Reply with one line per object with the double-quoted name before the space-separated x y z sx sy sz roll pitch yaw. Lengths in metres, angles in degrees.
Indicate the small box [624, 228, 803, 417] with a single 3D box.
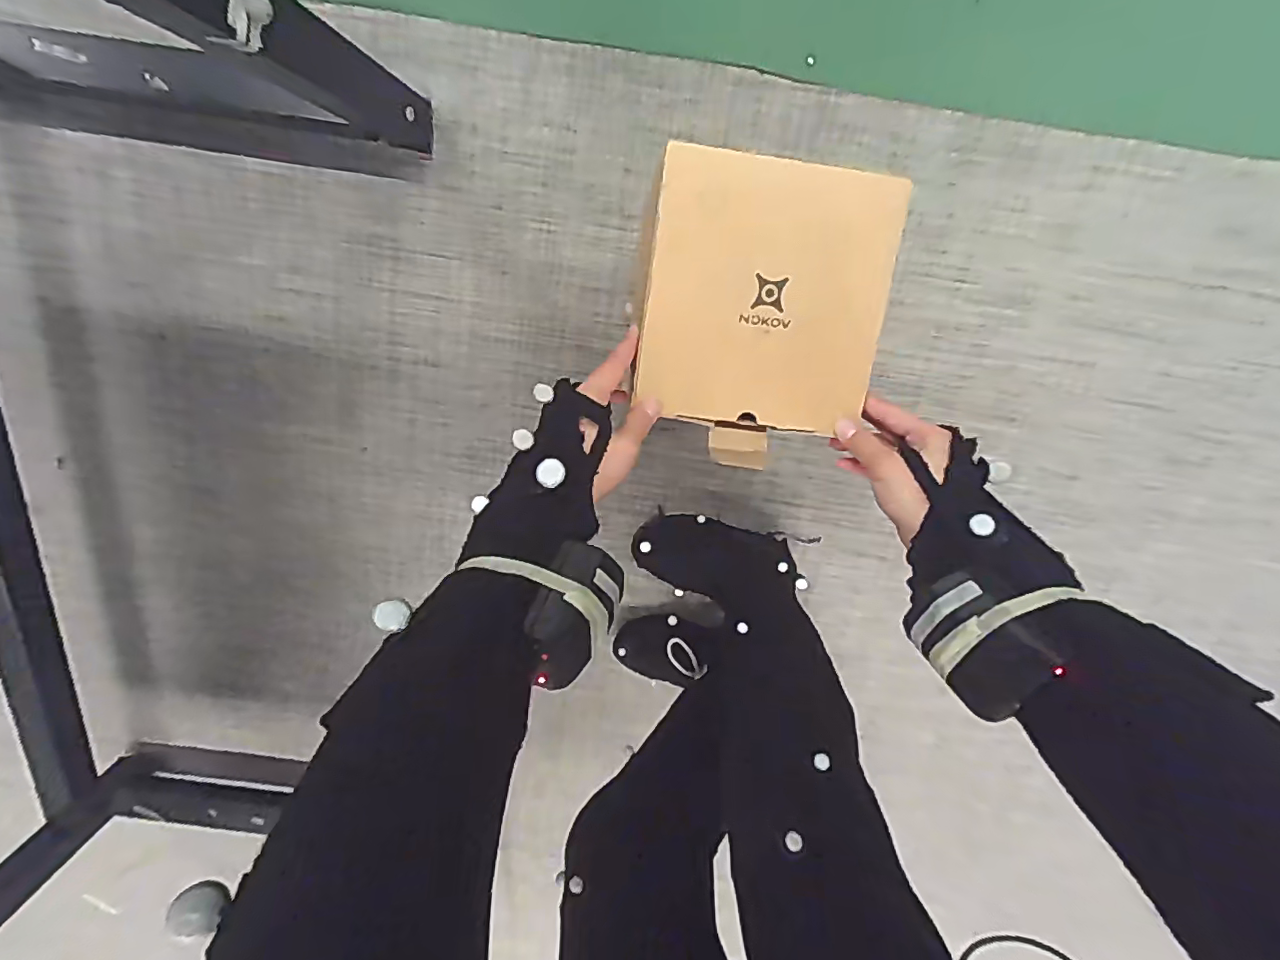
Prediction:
"small box" 0.079 -0.188 0.648 0.168 0.176 0.179 8 109 0
